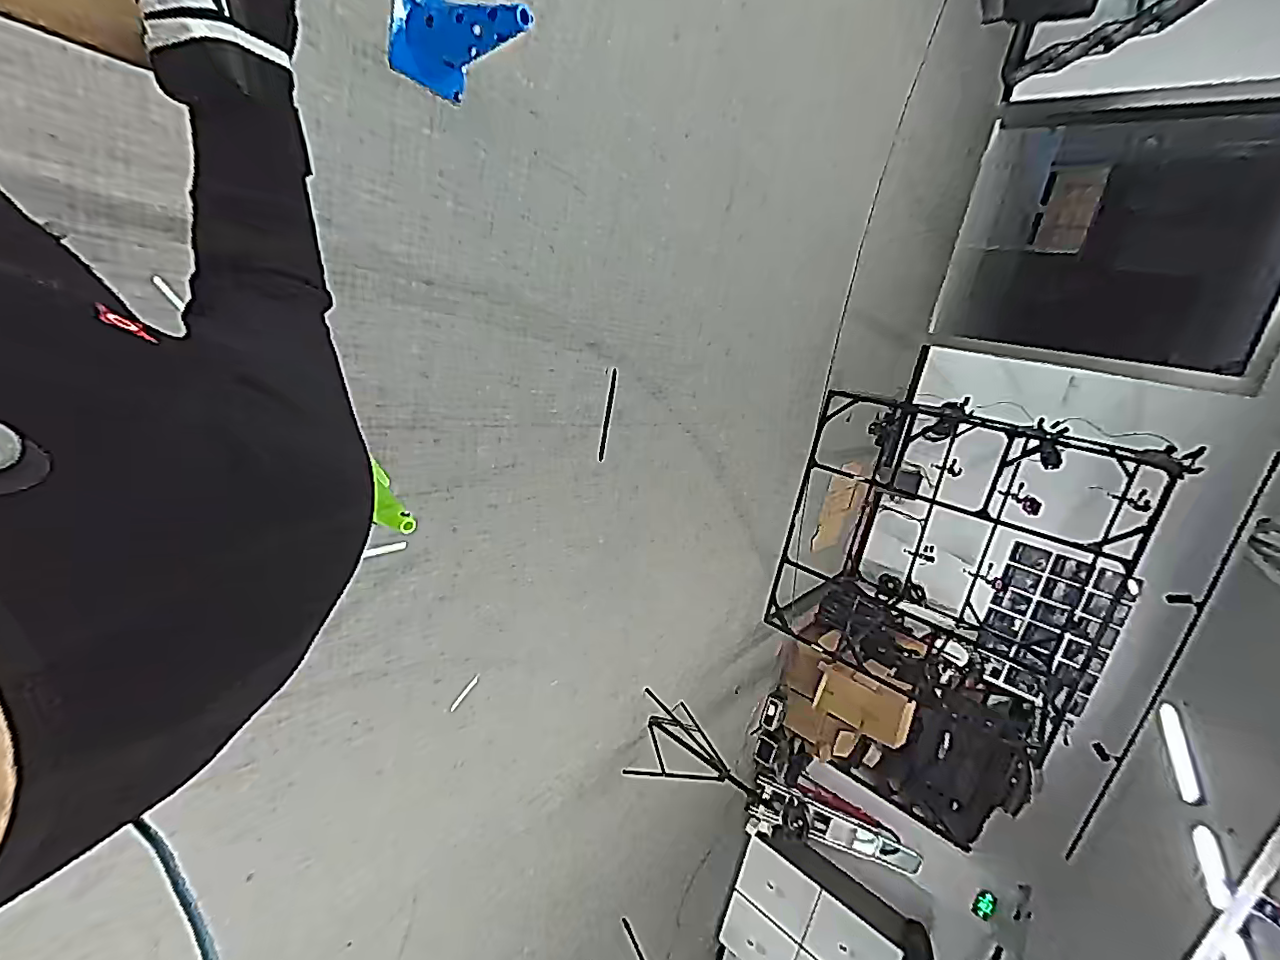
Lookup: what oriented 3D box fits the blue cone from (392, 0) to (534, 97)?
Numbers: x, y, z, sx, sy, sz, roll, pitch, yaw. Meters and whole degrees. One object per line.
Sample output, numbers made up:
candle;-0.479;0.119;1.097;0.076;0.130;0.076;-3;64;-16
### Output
blue cone;-0.385;-1.027;1.232;0.192;0.380;0.193;-3;111;-54
